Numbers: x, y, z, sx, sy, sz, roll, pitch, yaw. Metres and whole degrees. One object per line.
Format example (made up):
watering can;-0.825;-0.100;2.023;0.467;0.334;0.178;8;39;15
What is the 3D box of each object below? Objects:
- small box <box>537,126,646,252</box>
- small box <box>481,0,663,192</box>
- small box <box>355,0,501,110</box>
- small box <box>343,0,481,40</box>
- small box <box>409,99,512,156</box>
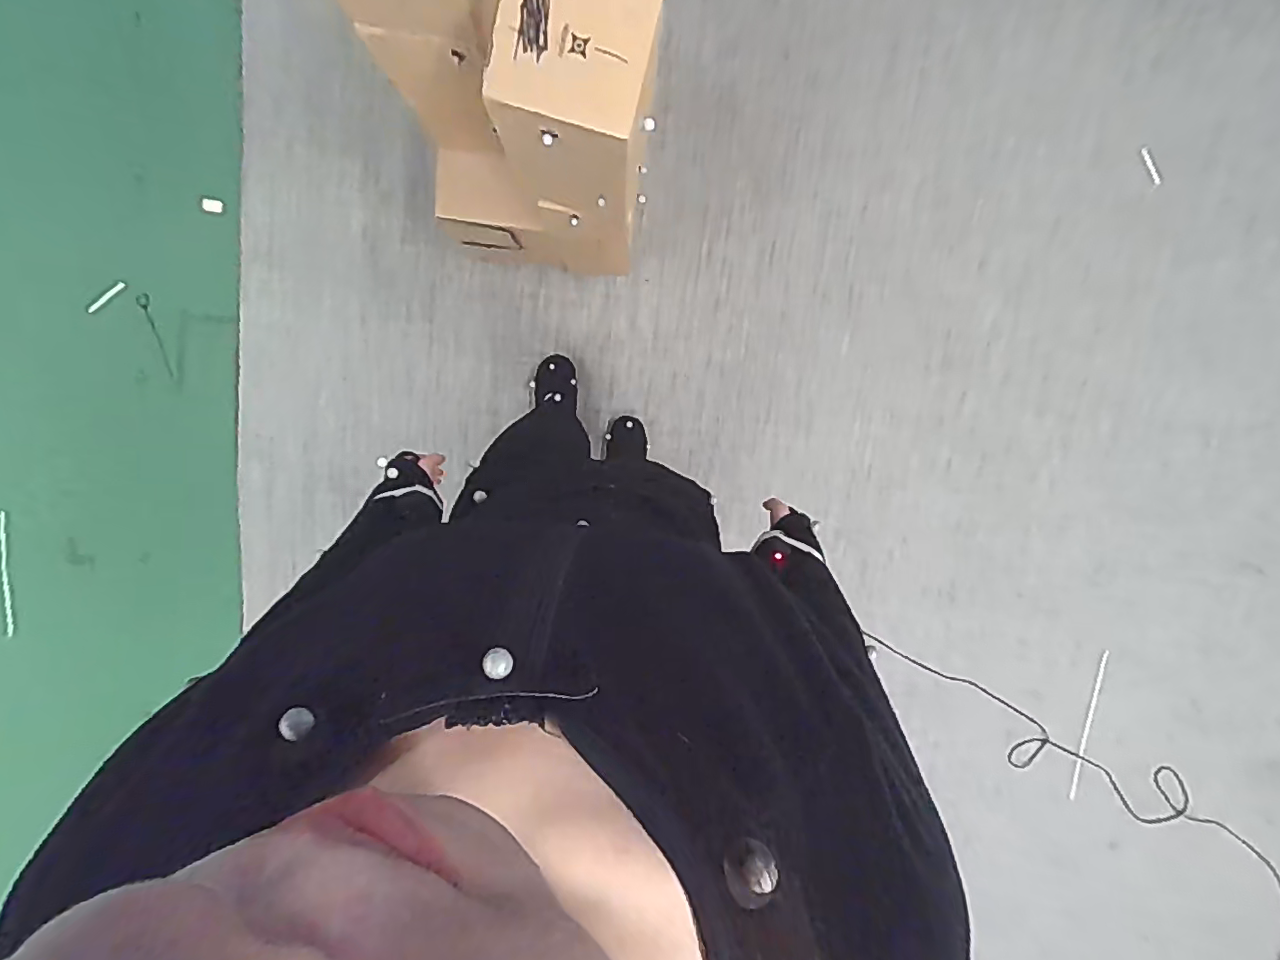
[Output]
small box;-0.088;-0.554;1.015;0.168;0.176;0.179;10;97;-3
small box;-0.081;-0.499;0.690;0.179;0.176;0.168;15;98;-5
small box;-0.307;-0.706;0.831;0.179;0.176;0.168;5;96;-3
small box;-0.295;-0.691;0.666;0.179;0.176;0.168;7;95;-2
small box;-0.303;-0.722;0.992;0.179;0.176;0.168;4;96;-1
